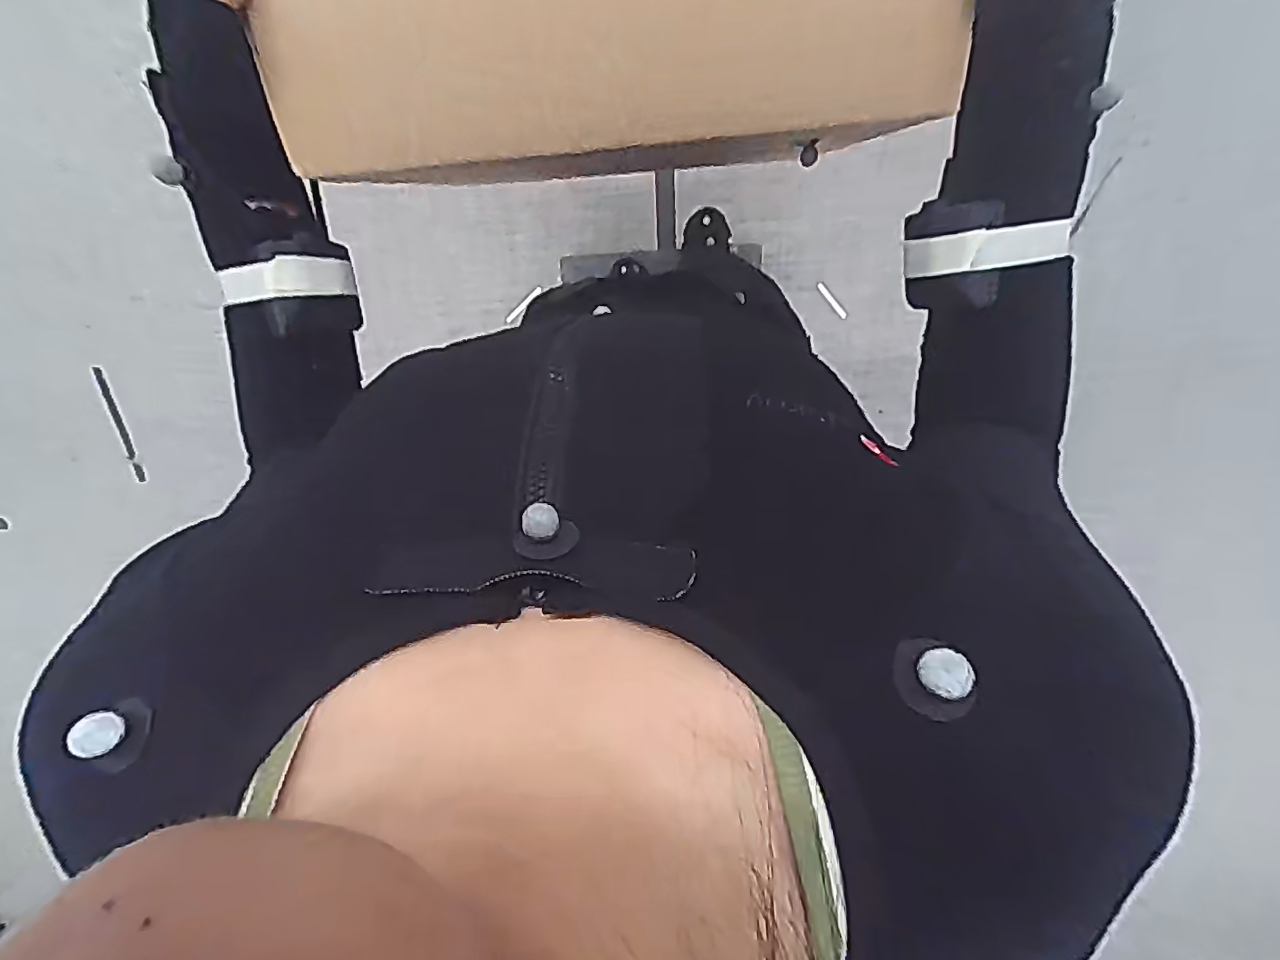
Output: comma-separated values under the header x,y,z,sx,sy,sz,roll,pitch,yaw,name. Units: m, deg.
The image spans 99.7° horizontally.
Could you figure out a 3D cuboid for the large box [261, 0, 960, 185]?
x,y,z,sx,sy,sz,roll,pitch,yaw,name
-0.018,-0.414,0.401,0.408,0.320,0.320,-3,117,6,large box
